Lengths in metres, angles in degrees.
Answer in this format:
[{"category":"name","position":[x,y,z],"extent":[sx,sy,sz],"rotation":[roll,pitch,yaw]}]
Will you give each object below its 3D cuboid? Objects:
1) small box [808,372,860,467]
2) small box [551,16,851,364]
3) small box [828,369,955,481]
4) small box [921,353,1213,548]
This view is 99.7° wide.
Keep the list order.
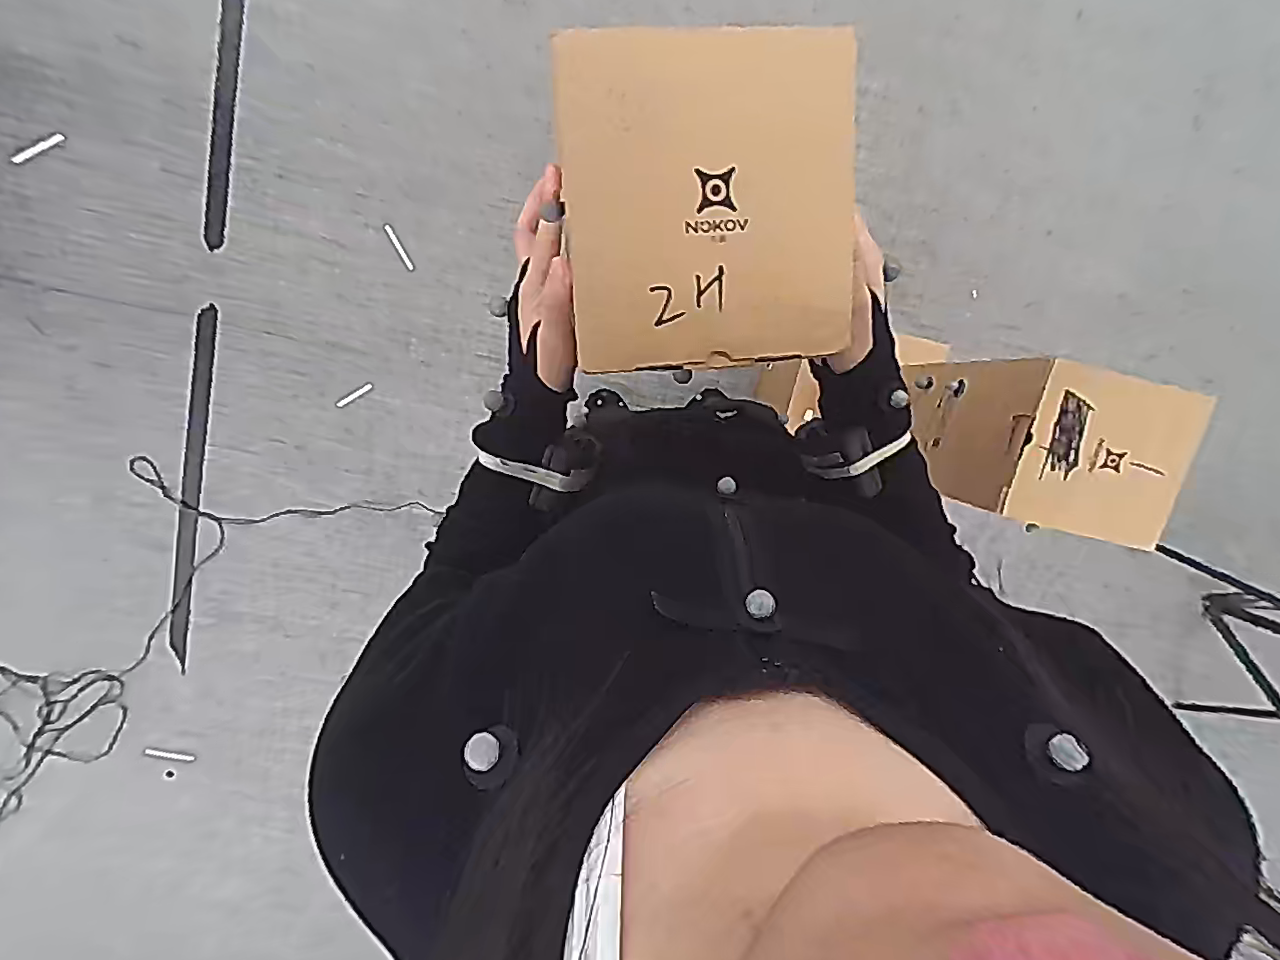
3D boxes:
[{"category":"small box","position":[0.461,-0.118,1.106],"extent":[0.168,0.176,0.179],"rotation":[10,100,-3]},{"category":"small box","position":[0.029,-0.175,0.379],"extent":[0.168,0.176,0.179],"rotation":[-5,104,-5]},{"category":"small box","position":[0.459,-0.096,0.945],"extent":[0.179,0.176,0.168],"rotation":[11,99,-2]},{"category":"small box","position":[0.463,-0.039,0.622],"extent":[0.179,0.176,0.168],"rotation":[13,100,-4]}]
